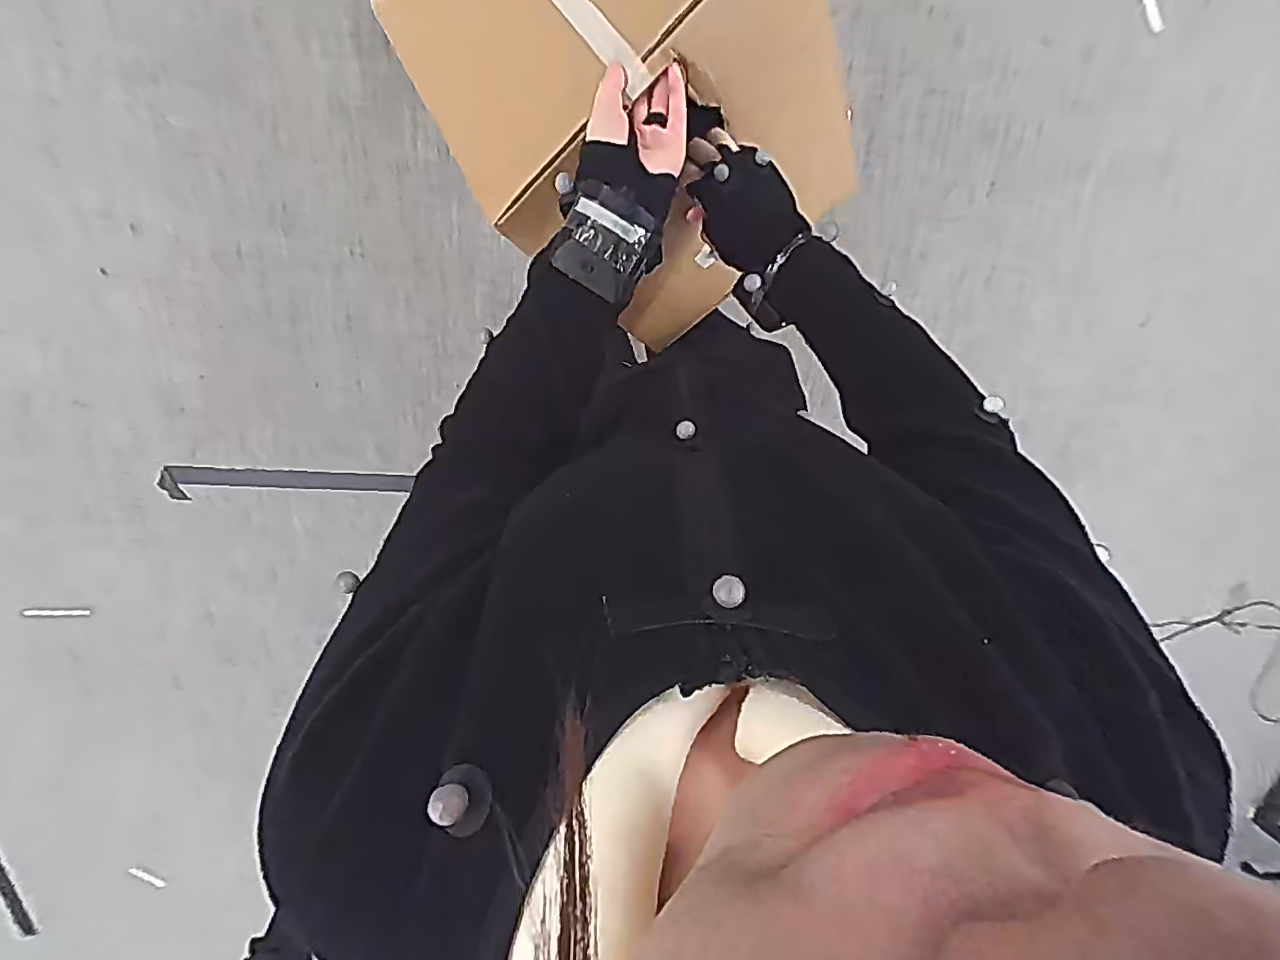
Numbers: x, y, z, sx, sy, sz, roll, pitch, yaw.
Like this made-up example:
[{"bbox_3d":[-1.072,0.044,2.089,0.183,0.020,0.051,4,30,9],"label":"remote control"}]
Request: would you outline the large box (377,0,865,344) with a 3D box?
[{"bbox_3d":[-0.018,-0.435,0.605,0.320,0.408,0.320,-38,156,18],"label":"large box"}]
